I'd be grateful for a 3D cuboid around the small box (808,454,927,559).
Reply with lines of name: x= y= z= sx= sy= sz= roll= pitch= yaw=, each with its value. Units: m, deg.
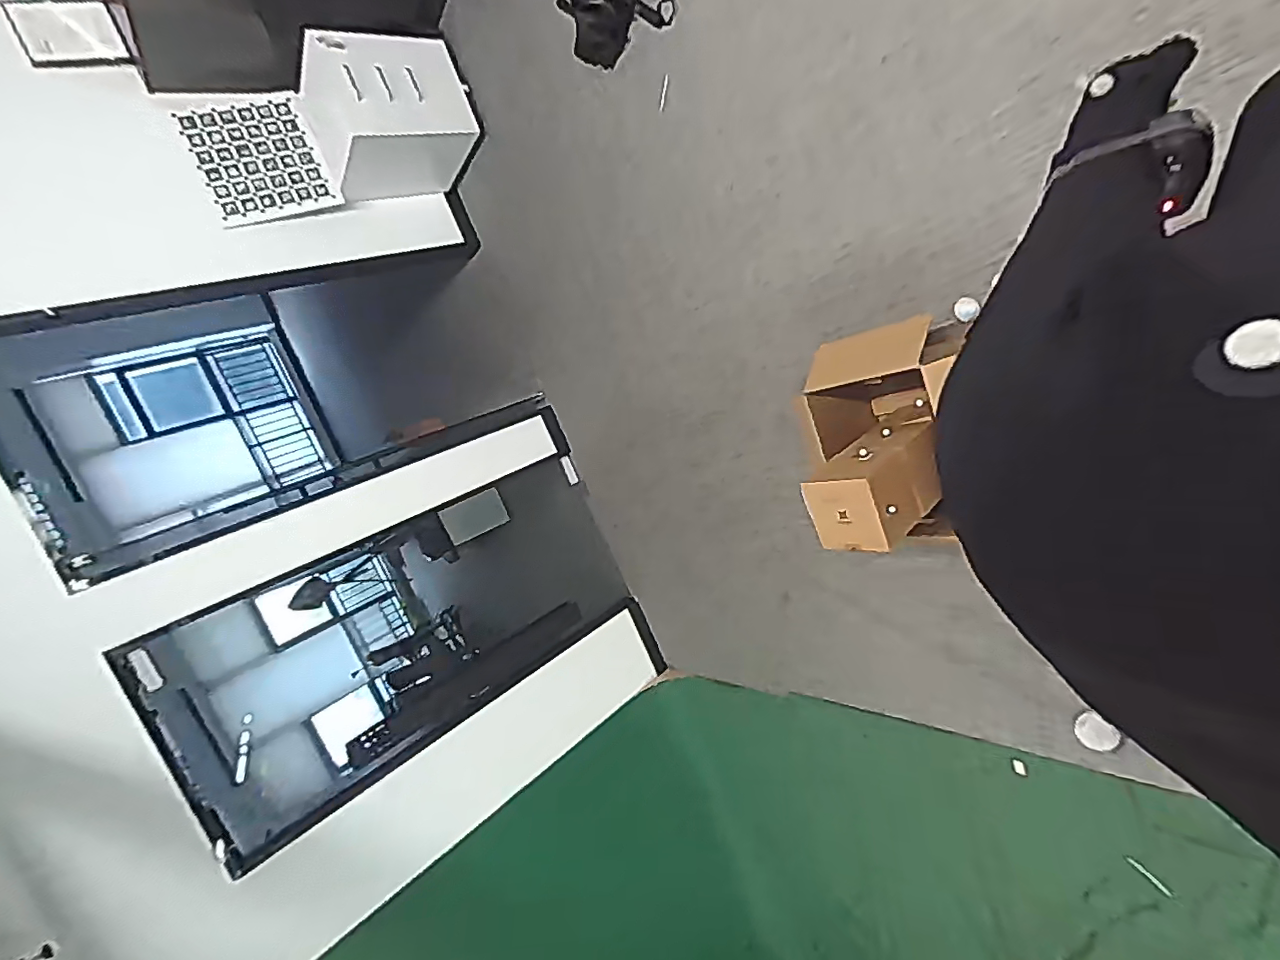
small box: x=0.519 y=0.060 z=1.224 sx=0.168 sy=0.176 sz=0.179 roll=-9 pitch=108 yaw=53
